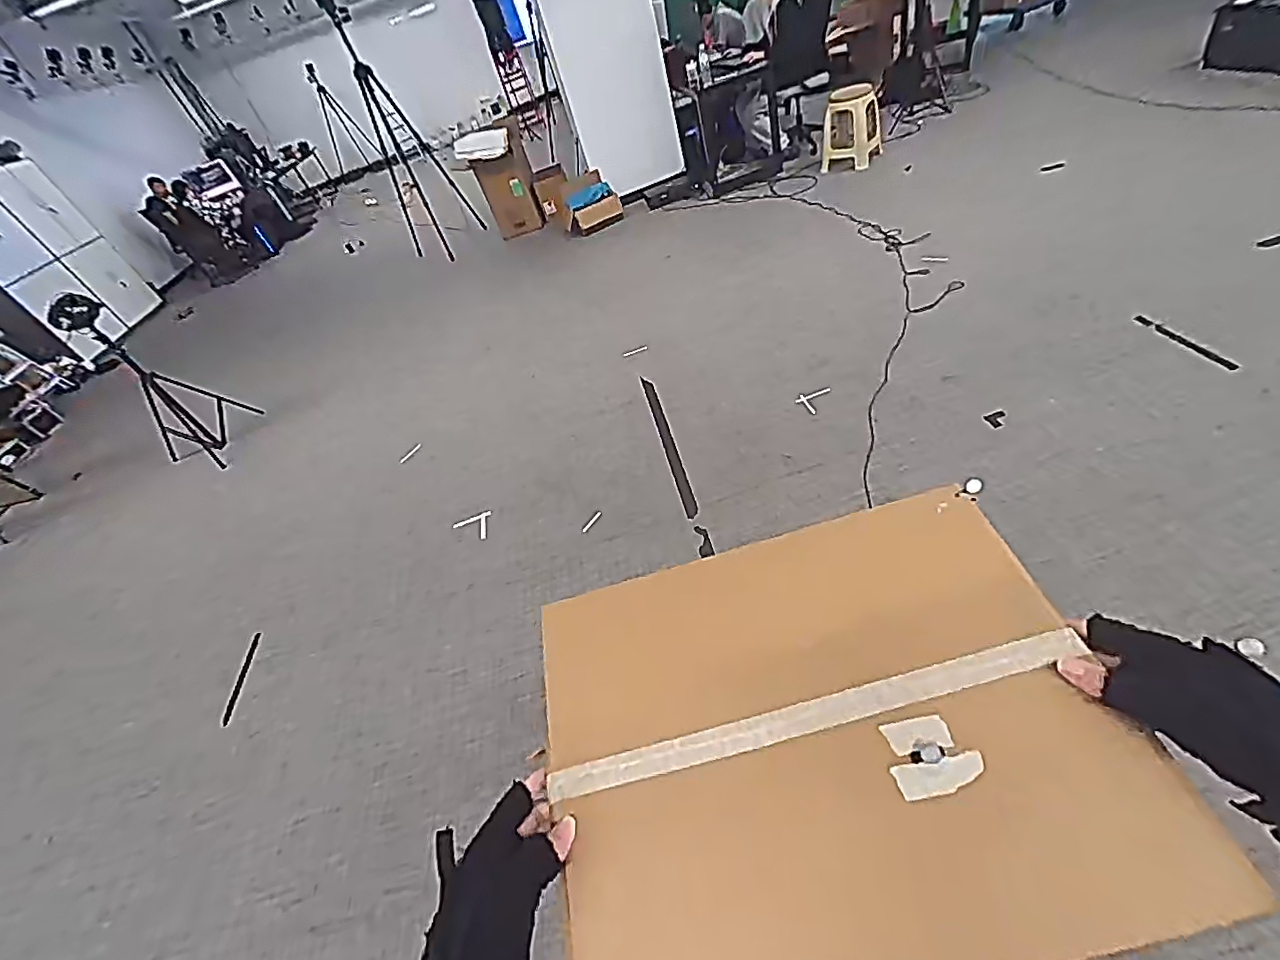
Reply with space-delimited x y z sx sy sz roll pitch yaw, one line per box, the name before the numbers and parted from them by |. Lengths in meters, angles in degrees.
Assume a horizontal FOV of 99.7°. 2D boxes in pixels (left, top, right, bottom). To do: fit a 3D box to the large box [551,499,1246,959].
large box | 0.165 0.280 0.525 0.408 0.320 0.320 -17 49 3
